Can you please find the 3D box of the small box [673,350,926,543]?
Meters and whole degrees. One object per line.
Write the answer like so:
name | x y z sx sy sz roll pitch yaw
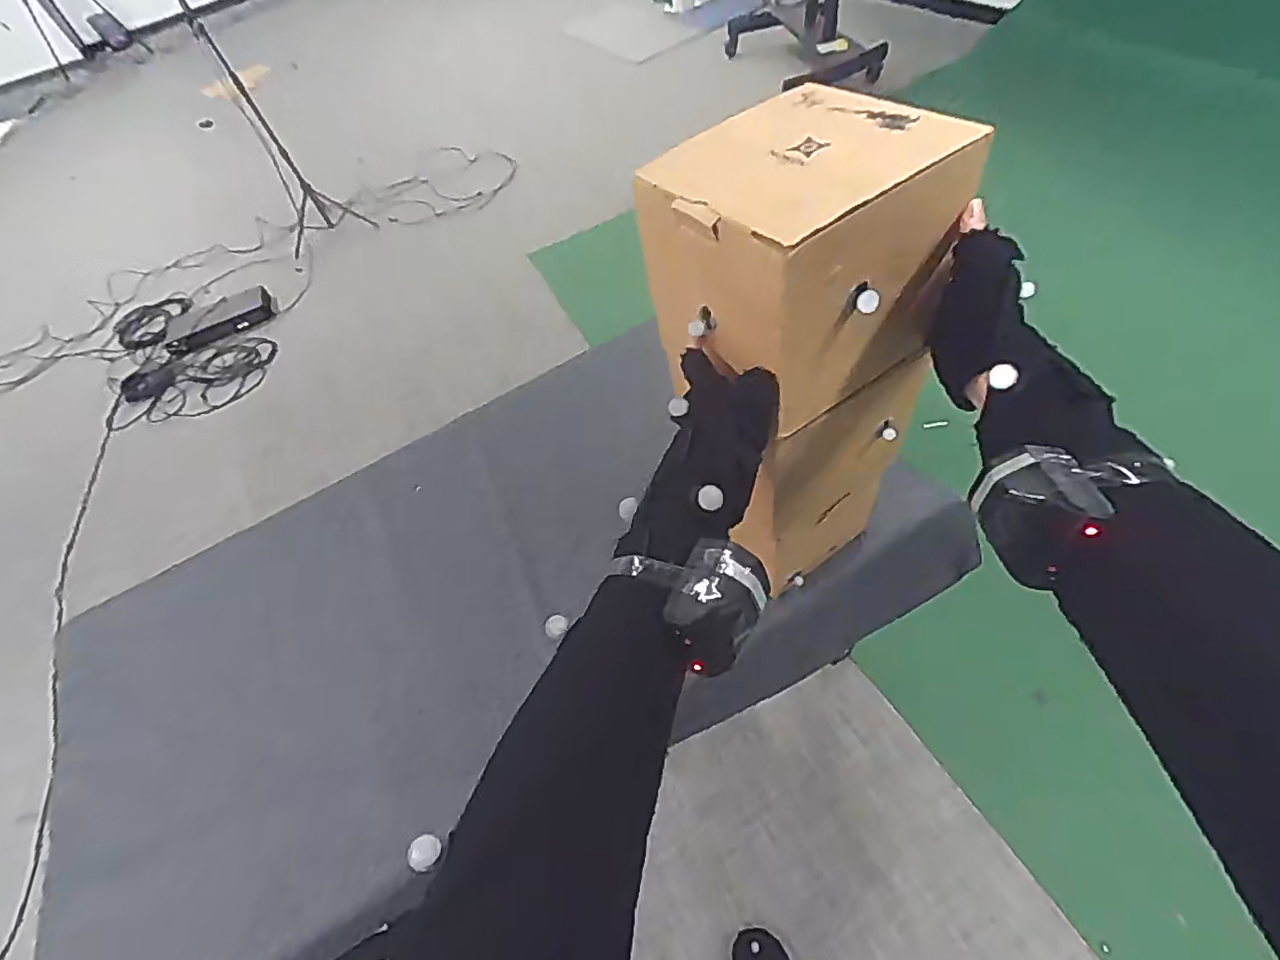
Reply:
small box | 0.157 -0.068 0.573 0.179 0.176 0.168 -32 54 -10

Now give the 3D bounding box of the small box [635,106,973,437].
small box | 0.123 -0.167 0.444 0.179 0.176 0.168 -33 53 -12

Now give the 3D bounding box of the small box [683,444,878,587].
small box | 0.180 0.018 0.708 0.168 0.176 0.179 -33 55 -12
